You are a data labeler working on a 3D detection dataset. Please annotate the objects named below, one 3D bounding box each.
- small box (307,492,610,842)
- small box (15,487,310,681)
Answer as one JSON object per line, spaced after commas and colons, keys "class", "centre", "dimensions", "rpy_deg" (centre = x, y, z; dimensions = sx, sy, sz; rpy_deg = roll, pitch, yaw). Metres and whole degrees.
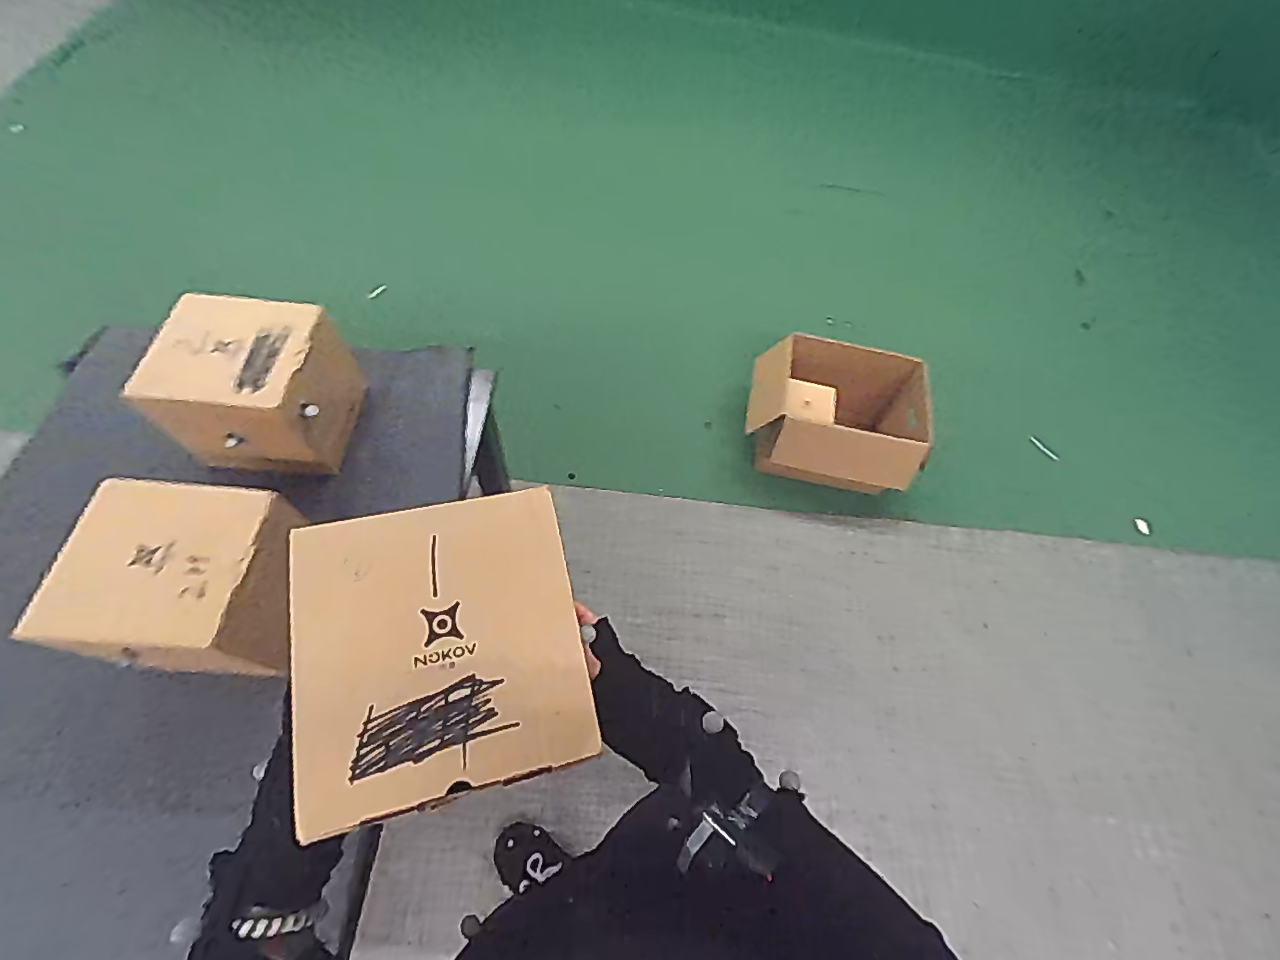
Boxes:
{"class": "small box", "centre": [-0.124, 0.129, 0.401], "dimensions": [0.168, 0.176, 0.179], "rpy_deg": [-9, 68, -14]}
{"class": "small box", "centre": [-0.485, 0.123, 0.602], "dimensions": [0.179, 0.176, 0.168], "rpy_deg": [4, 62, -3]}
